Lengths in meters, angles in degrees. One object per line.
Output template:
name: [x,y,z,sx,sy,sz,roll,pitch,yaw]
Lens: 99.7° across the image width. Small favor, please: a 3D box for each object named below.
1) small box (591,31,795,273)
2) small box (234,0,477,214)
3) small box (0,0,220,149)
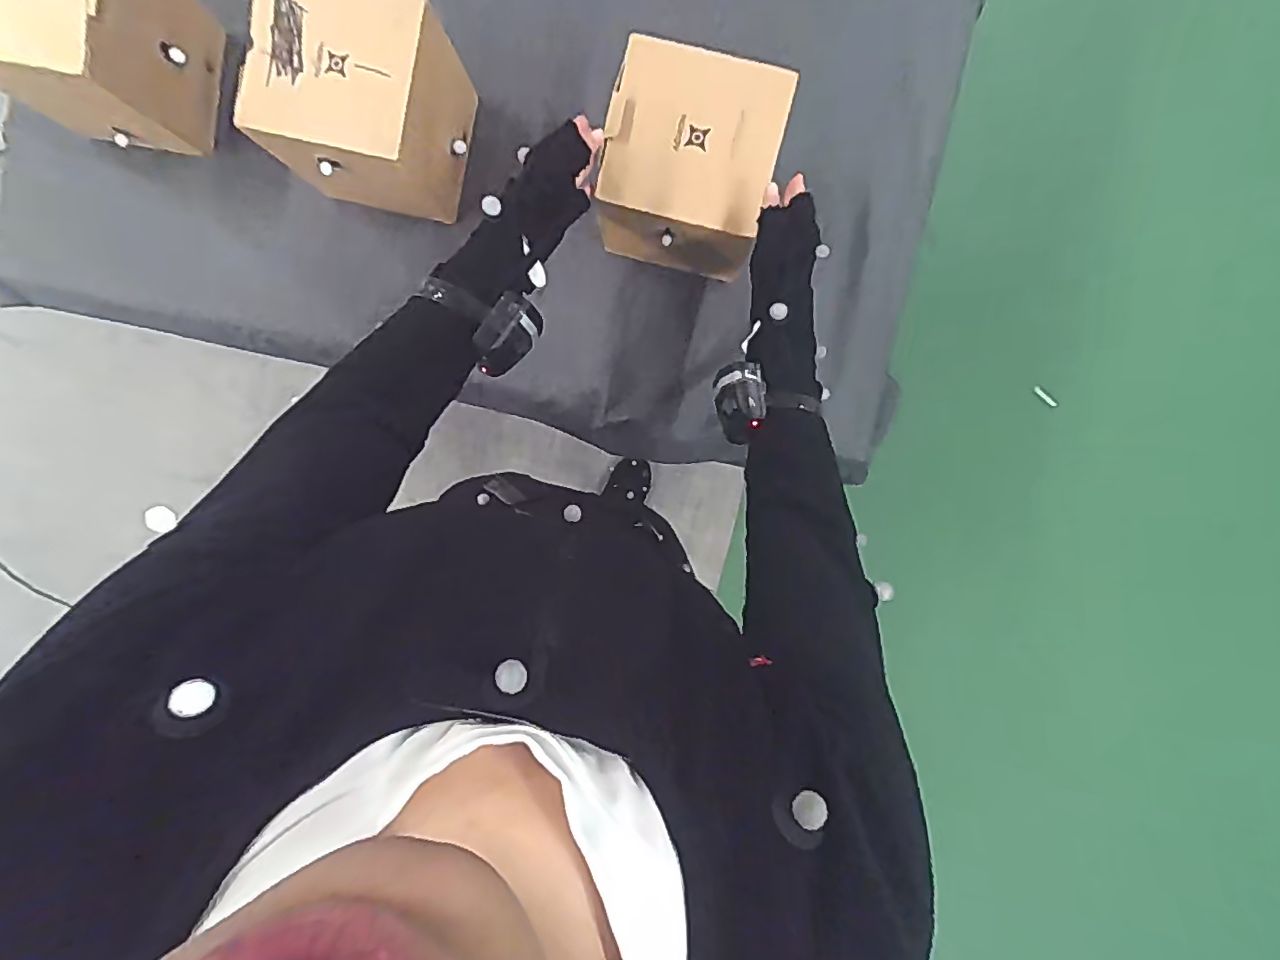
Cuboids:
small box: [0.054,-0.358,0.626,0.179,0.176,0.168,14,96,-1]
small box: [-0.313,-0.434,0.626,0.179,0.176,0.168,12,95,0]
small box: [-0.636,-0.518,0.627,0.179,0.176,0.168,10,95,0]
